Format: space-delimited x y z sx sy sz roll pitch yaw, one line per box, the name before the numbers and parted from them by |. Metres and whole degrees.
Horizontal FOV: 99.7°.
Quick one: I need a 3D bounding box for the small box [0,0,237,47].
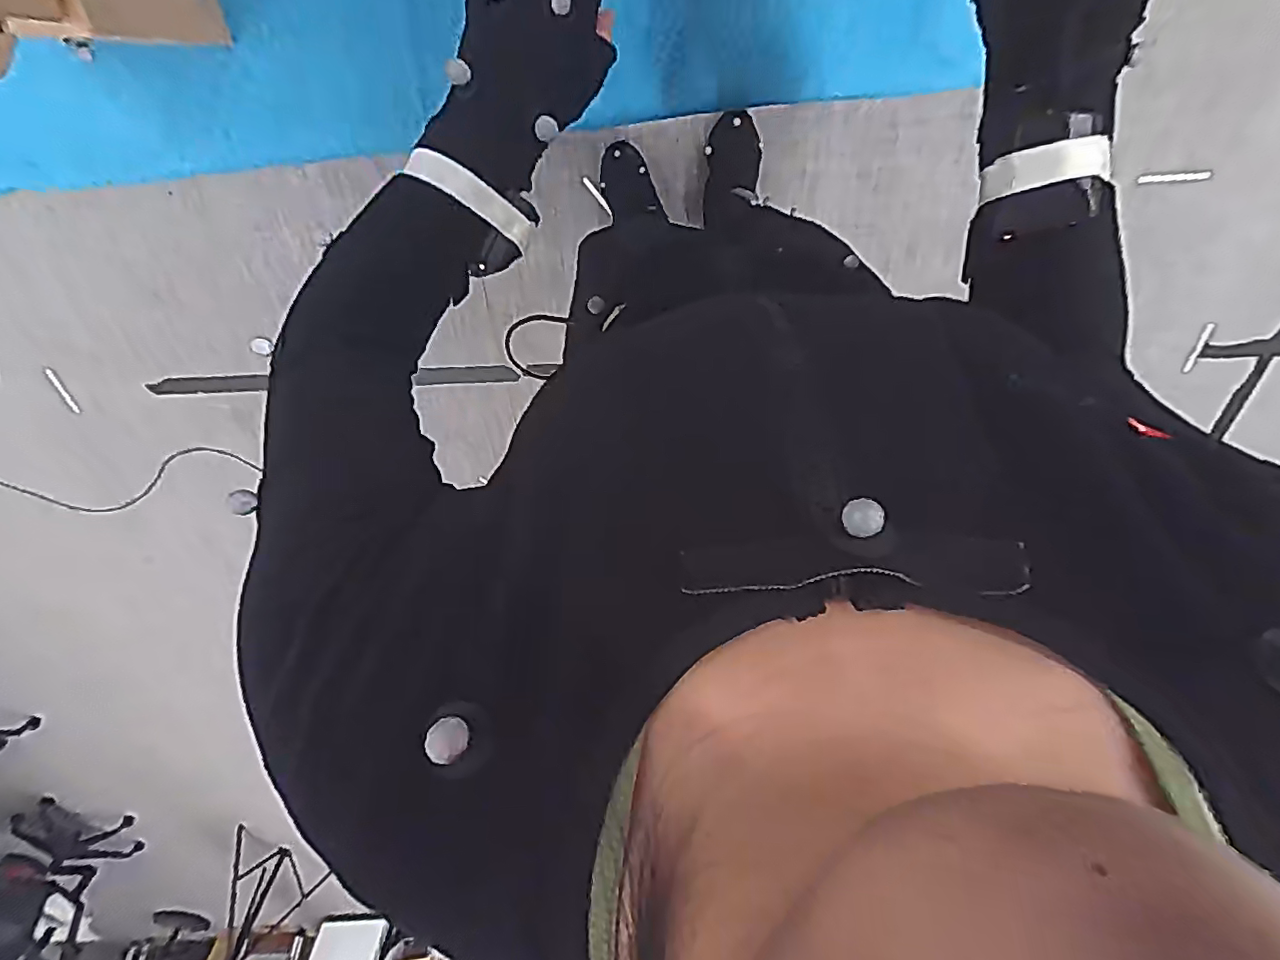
small box | -0.460 -0.437 0.398 0.168 0.176 0.179 1 127 -1
